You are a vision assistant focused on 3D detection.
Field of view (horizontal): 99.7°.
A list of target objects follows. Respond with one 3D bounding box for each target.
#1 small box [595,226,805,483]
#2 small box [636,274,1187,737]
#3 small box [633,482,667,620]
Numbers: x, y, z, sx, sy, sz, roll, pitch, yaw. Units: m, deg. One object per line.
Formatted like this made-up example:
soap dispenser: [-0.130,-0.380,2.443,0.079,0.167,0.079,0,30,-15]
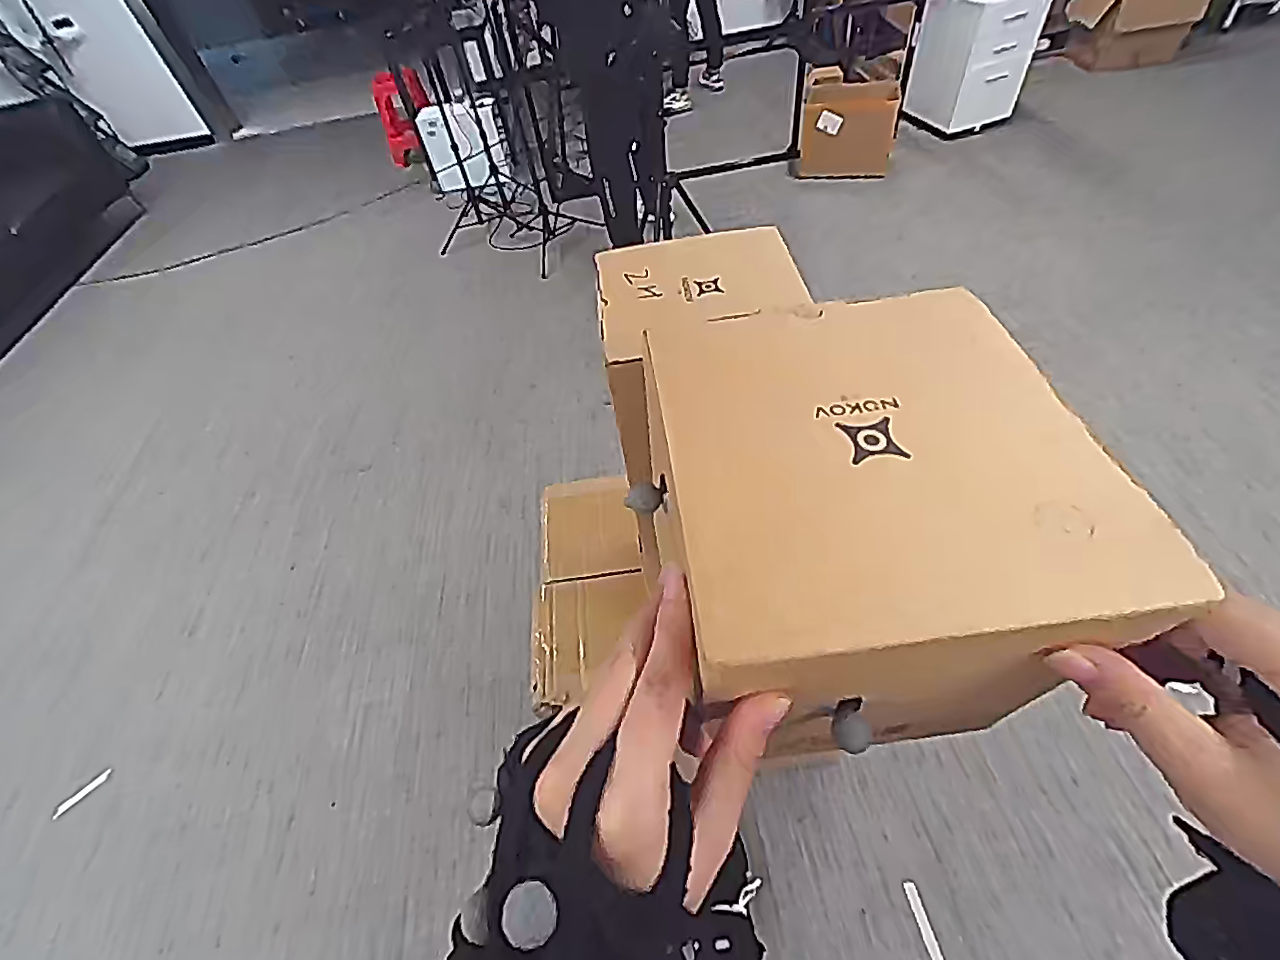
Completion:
small box: [0.057,-0.116,0.530,0.179,0.176,0.168,-8,51,2]
small box: [0.093,0.023,0.286,0.168,0.176,0.179,-8,51,-1]
small box: [0.091,0.090,0.785,0.179,0.176,0.168,-8,51,2]
